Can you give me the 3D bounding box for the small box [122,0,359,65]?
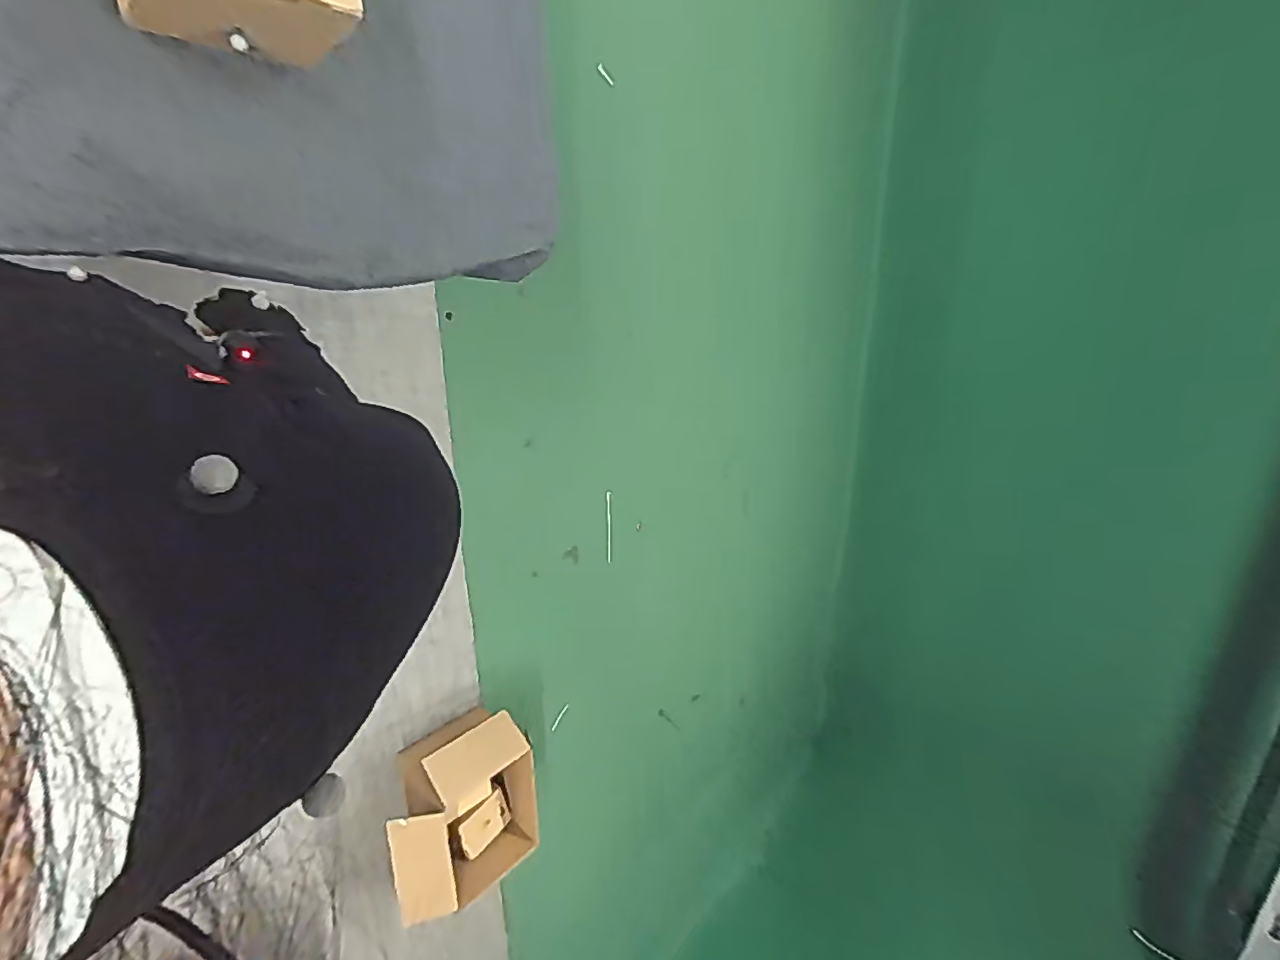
[{"bbox_3d":[-0.393,-0.533,0.504,0.168,0.176,0.179,-20,116,-43],"label":"small box"}]
